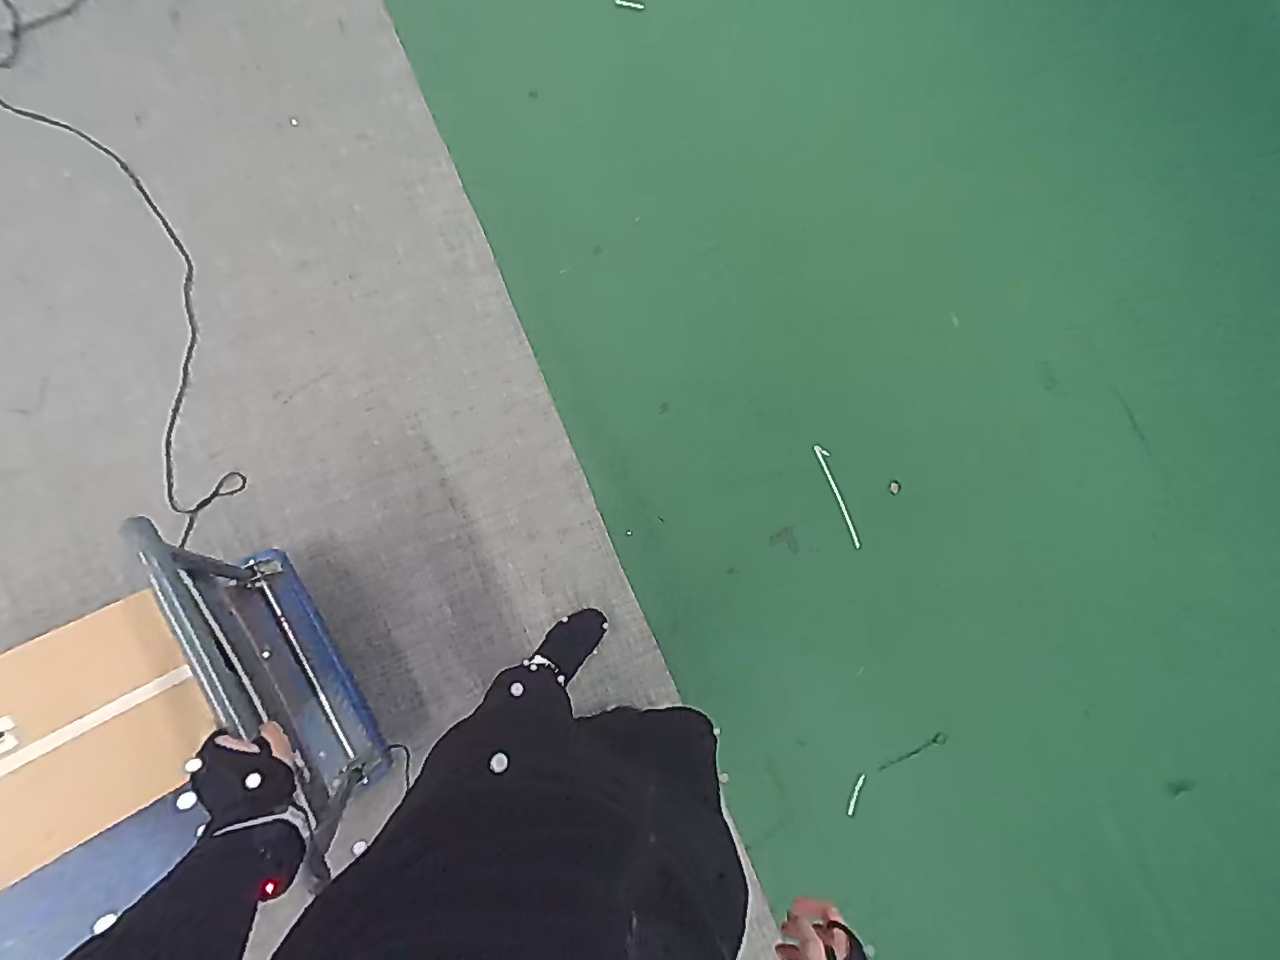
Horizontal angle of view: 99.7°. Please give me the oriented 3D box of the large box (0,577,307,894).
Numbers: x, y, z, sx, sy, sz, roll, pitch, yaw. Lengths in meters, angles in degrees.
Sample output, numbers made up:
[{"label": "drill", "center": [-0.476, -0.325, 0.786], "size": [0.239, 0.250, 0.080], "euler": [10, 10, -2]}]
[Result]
[{"label": "large box", "center": [-0.909, 0.407, 0.968], "size": [0.408, 0.320, 0.320], "euler": [-30, 89, -21]}]
